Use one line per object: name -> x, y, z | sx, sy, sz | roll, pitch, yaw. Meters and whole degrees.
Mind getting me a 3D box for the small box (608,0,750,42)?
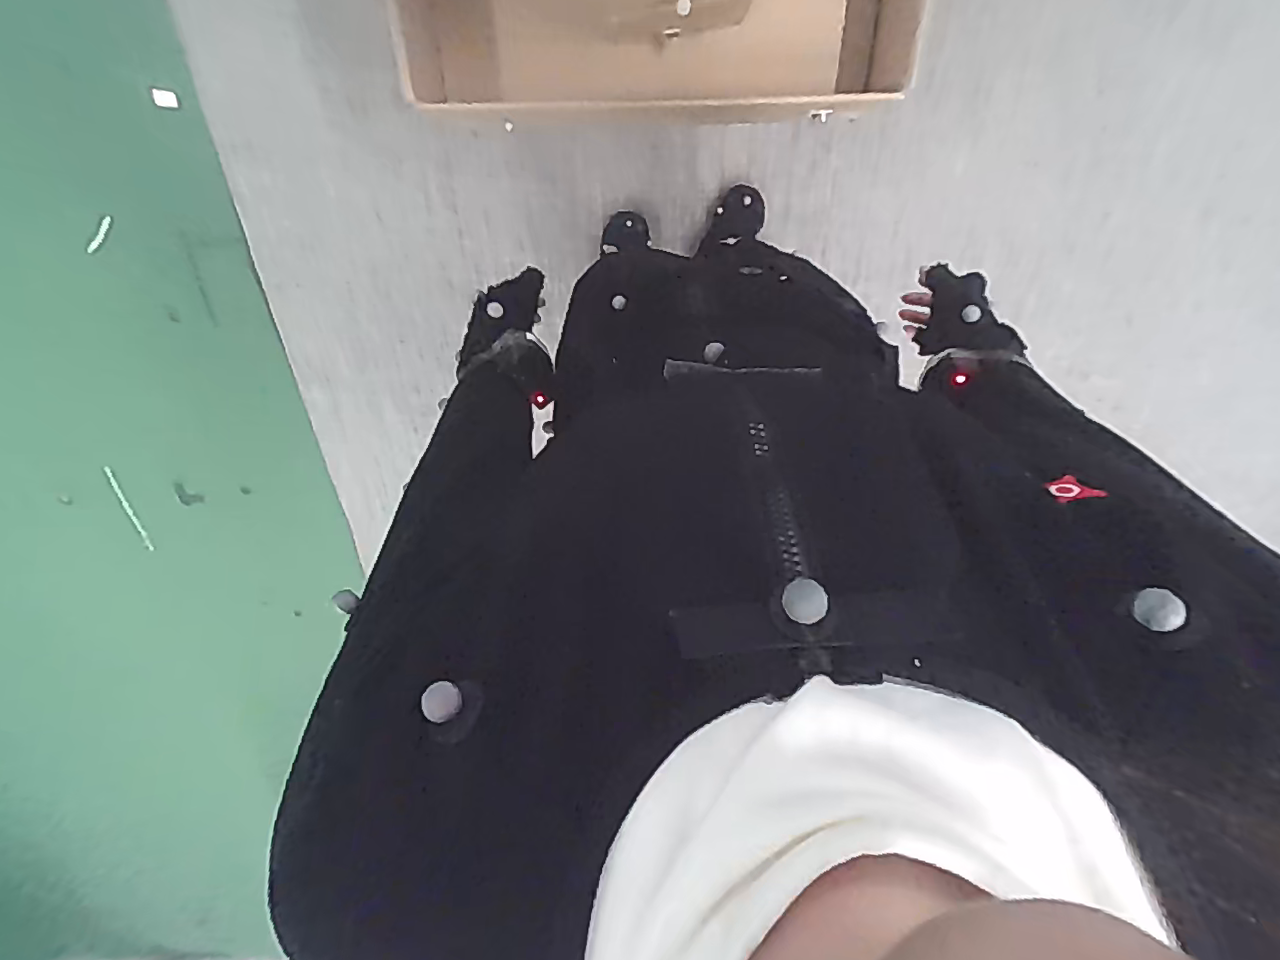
small box -> 0.039, -0.640, 0.622 | 0.168, 0.176, 0.179 | -5, 121, 6
